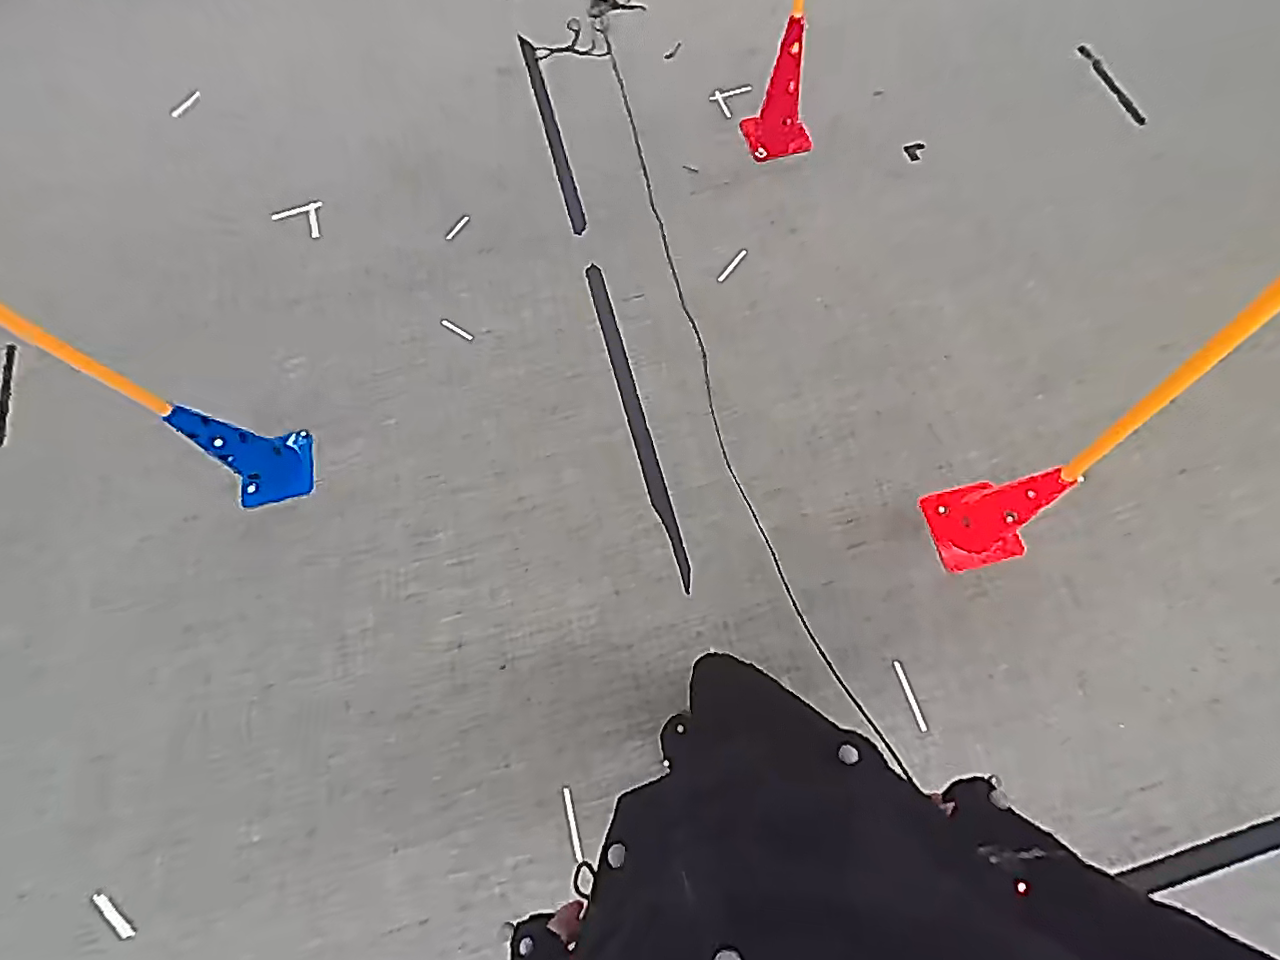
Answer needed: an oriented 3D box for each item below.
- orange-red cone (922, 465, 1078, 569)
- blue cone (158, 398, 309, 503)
[{"bbox_3d":[0.802,0.049,1.162,0.198,0.360,0.199,-13,70,-1],"label":"orange-red cone"},{"bbox_3d":[-1.029,-0.091,1.357,0.193,0.380,0.192,-12,69,-1],"label":"blue cone"}]
